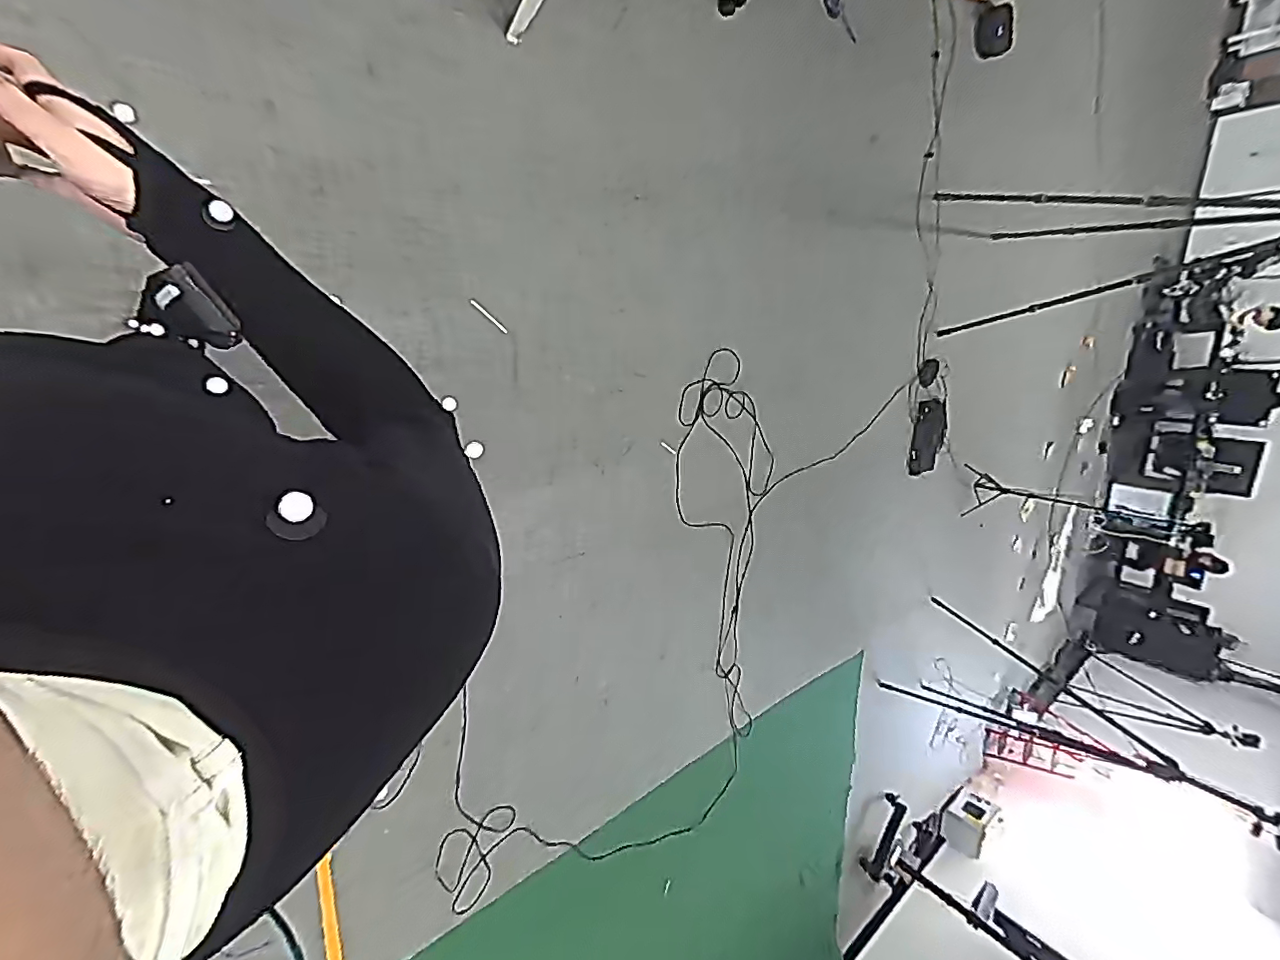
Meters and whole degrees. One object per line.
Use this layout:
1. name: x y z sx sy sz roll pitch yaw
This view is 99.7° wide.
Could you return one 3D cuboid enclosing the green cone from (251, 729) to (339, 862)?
1. green cone: -0.903 0.891 1.464 0.202 0.368 0.200 -14 111 -37
